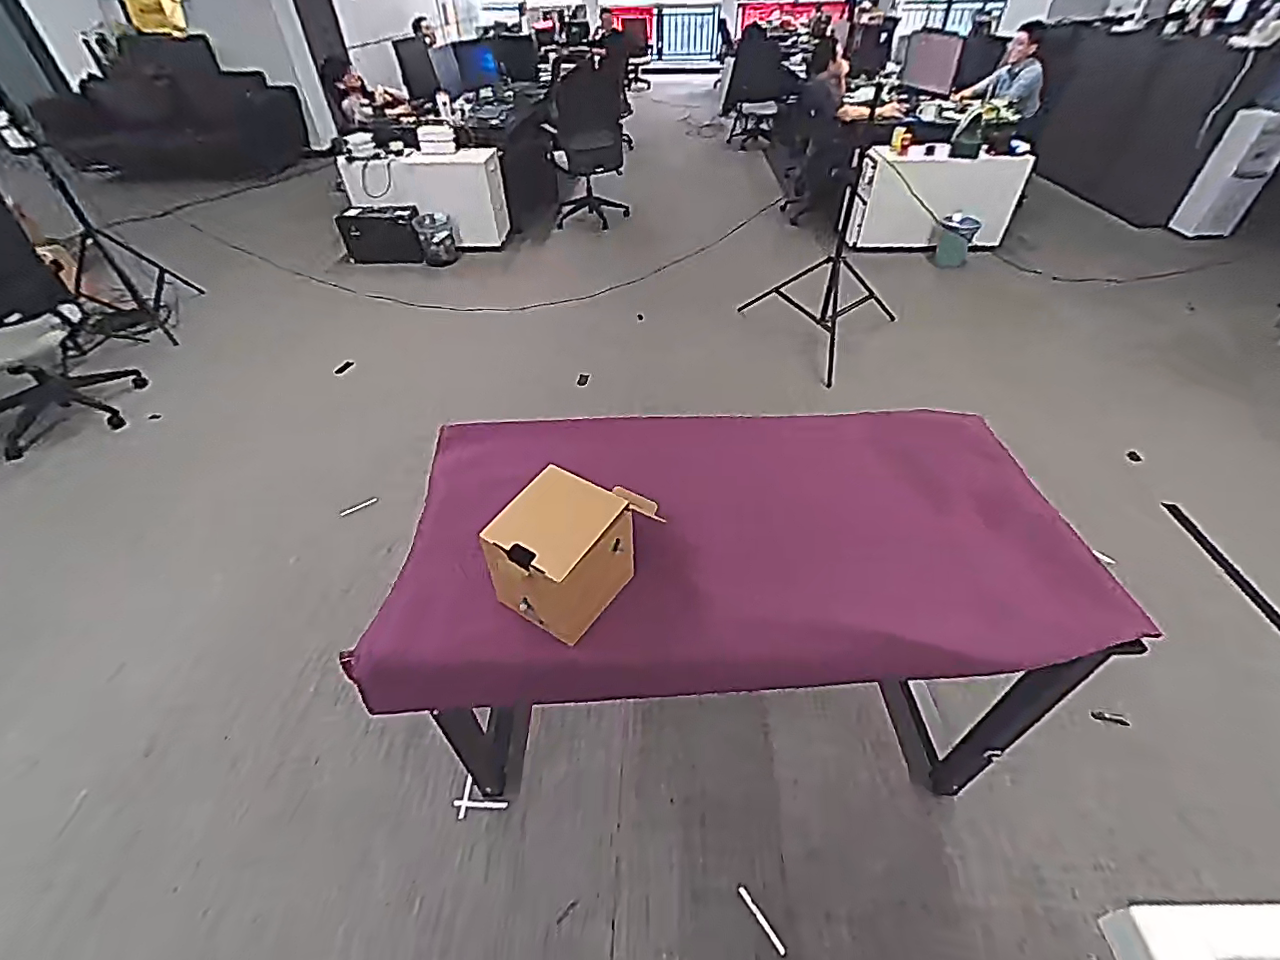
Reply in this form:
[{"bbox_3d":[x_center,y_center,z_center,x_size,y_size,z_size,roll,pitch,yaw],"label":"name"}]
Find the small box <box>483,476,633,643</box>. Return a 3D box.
[{"bbox_3d":[-0.126,0.129,0.891,0.168,0.176,0.179,24,48,26],"label":"small box"}]
